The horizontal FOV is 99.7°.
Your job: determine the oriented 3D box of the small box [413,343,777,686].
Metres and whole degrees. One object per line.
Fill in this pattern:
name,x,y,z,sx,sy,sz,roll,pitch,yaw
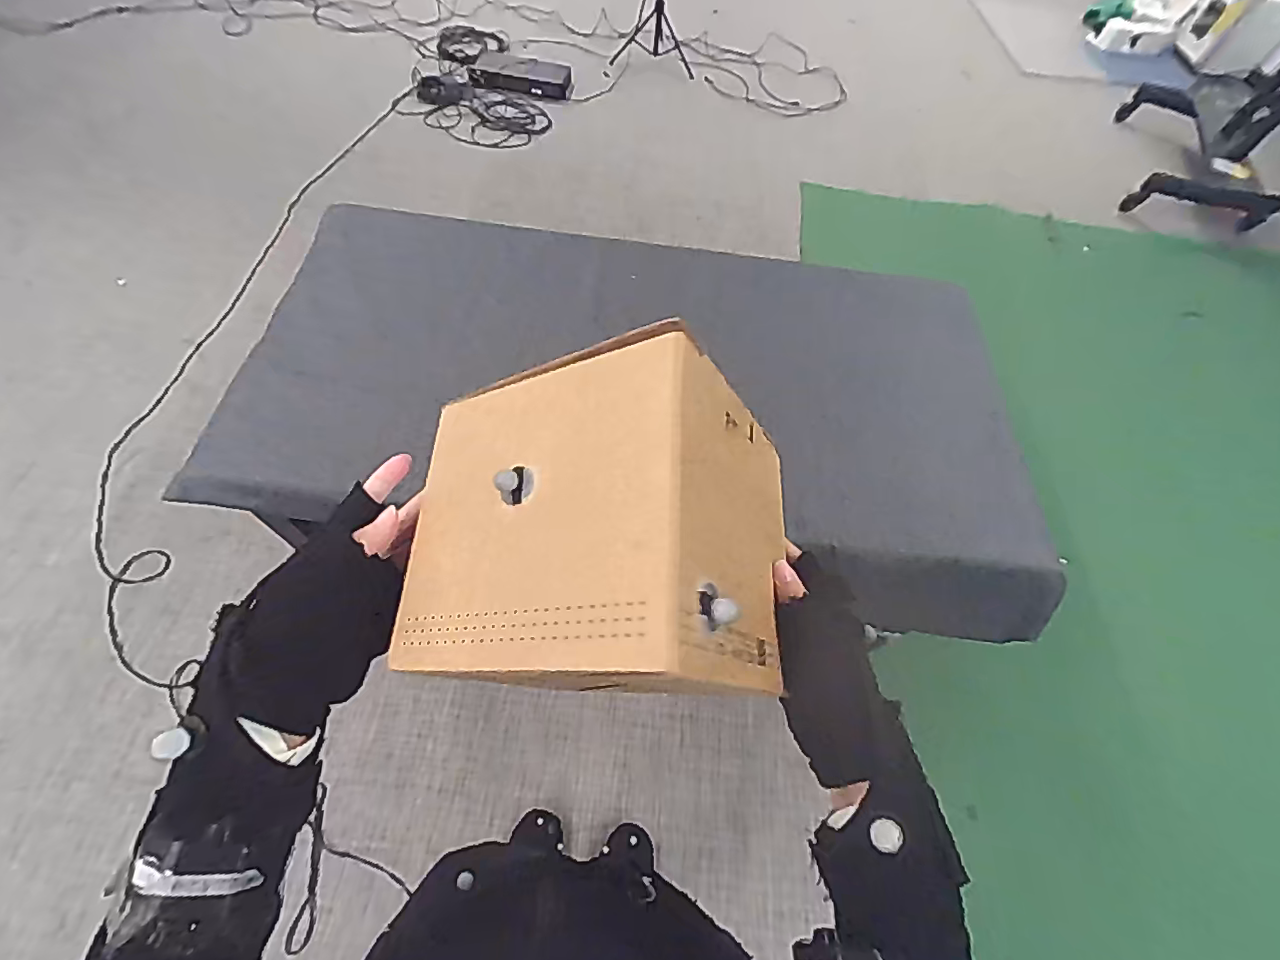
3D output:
small box,-0.016,0.043,0.357,0.179,0.168,0.176,-11,63,27
